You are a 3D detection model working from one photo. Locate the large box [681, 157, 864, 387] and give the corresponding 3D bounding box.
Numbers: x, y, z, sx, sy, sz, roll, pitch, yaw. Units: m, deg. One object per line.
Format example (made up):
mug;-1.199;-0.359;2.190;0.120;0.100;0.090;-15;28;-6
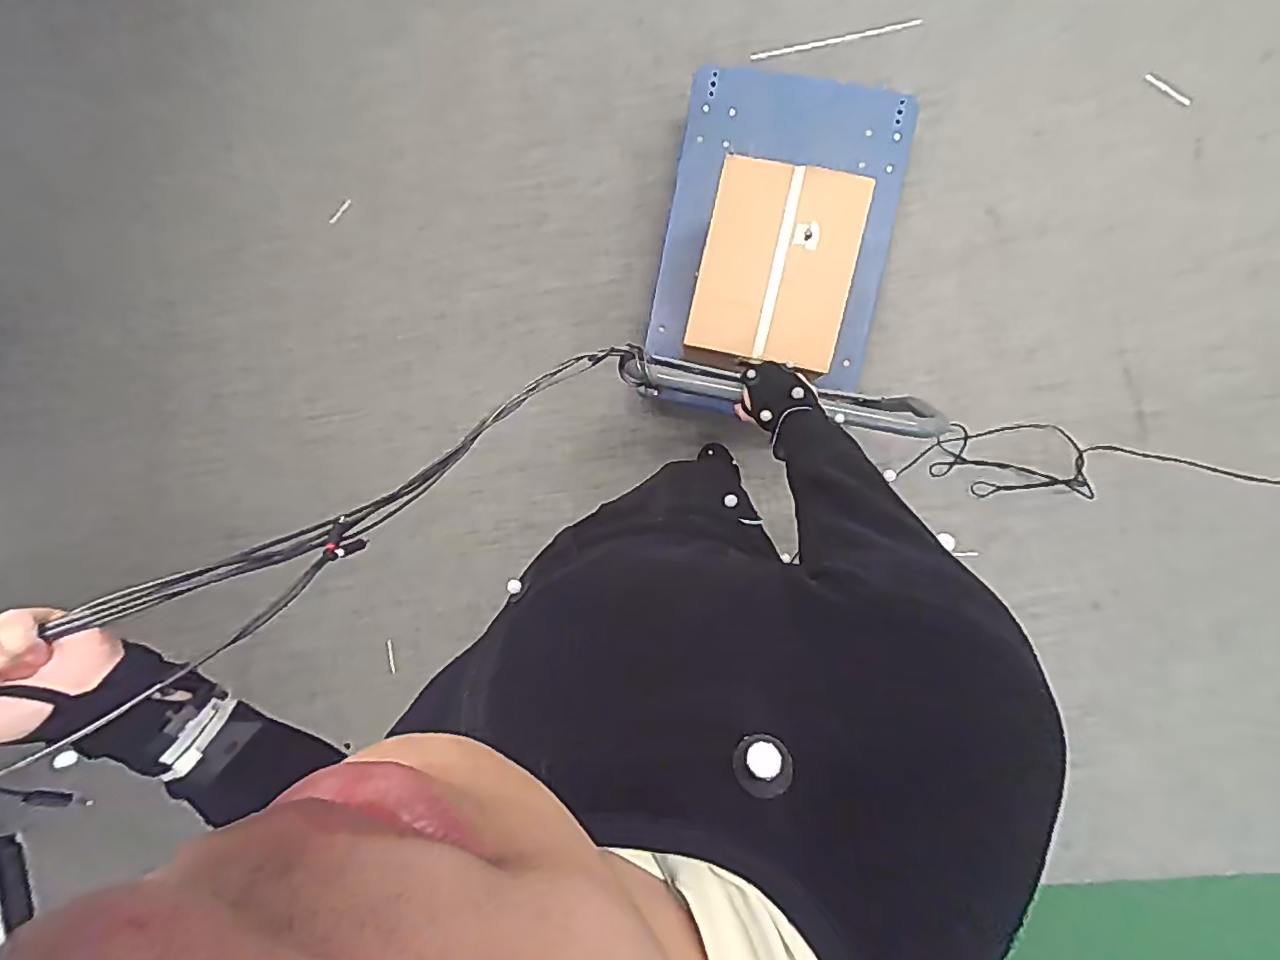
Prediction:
large box;0.288;-0.460;1.285;0.320;0.320;0.408;13;93;3
